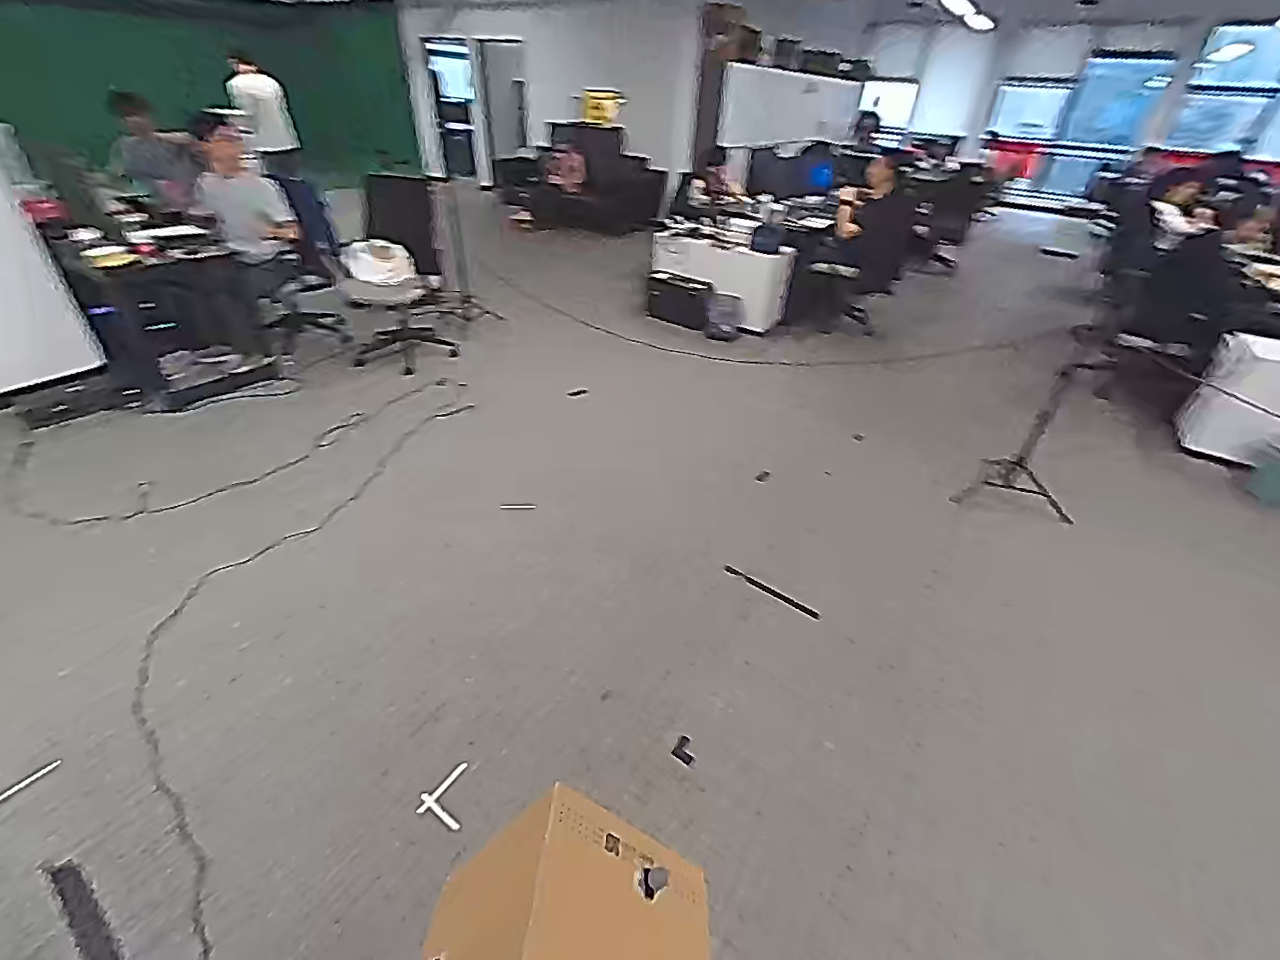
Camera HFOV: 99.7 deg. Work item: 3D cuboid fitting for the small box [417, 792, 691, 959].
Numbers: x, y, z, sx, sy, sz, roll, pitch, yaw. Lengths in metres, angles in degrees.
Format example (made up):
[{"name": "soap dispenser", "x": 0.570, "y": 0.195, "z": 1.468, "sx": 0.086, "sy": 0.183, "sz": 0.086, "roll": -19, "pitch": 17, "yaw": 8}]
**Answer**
[{"name": "small box", "x": -0.070, "y": 0.389, "z": 0.415, "sx": 0.168, "sy": 0.179, "sz": 0.176, "roll": 38, "pitch": 18, "yaw": -14}]
